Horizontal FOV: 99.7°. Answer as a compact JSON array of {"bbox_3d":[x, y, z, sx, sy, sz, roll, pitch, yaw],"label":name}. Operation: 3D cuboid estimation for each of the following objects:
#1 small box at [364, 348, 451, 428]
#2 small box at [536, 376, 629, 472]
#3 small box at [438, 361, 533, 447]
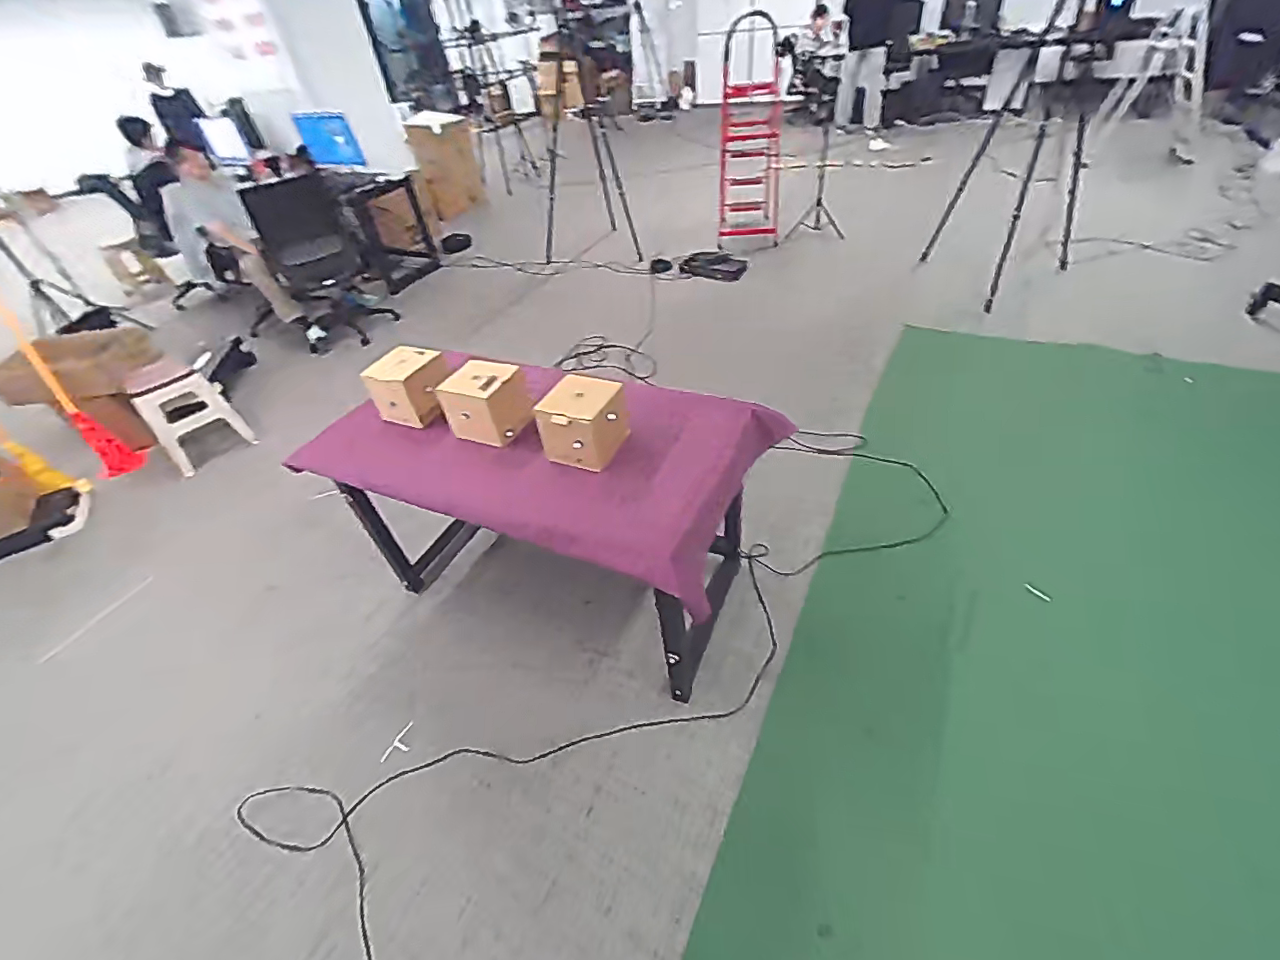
[{"bbox_3d":[-0.689,-0.279,1.648,0.168,0.176,0.179,14,47,22],"label":"small box"},{"bbox_3d":[-0.141,-0.145,1.413,0.168,0.176,0.179,14,46,23],"label":"small box"},{"bbox_3d":[-0.429,-0.214,1.535,0.179,0.176,0.168,12,46,23],"label":"small box"}]
